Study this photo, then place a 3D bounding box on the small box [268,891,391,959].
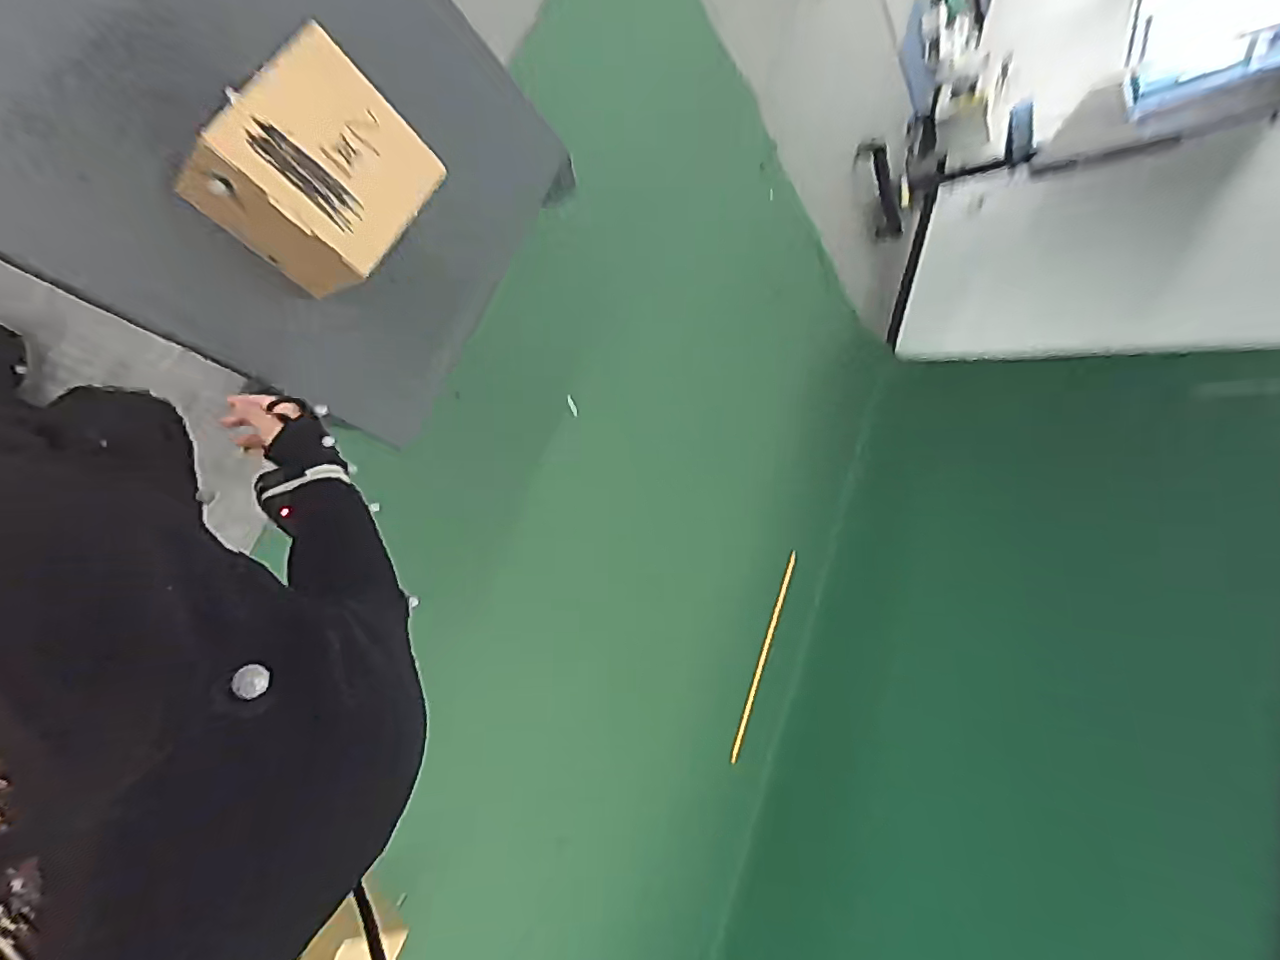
[{"bbox_3d":[-0.749,1.130,1.303,0.179,0.176,0.168,39,67,-45],"label":"small box"}]
